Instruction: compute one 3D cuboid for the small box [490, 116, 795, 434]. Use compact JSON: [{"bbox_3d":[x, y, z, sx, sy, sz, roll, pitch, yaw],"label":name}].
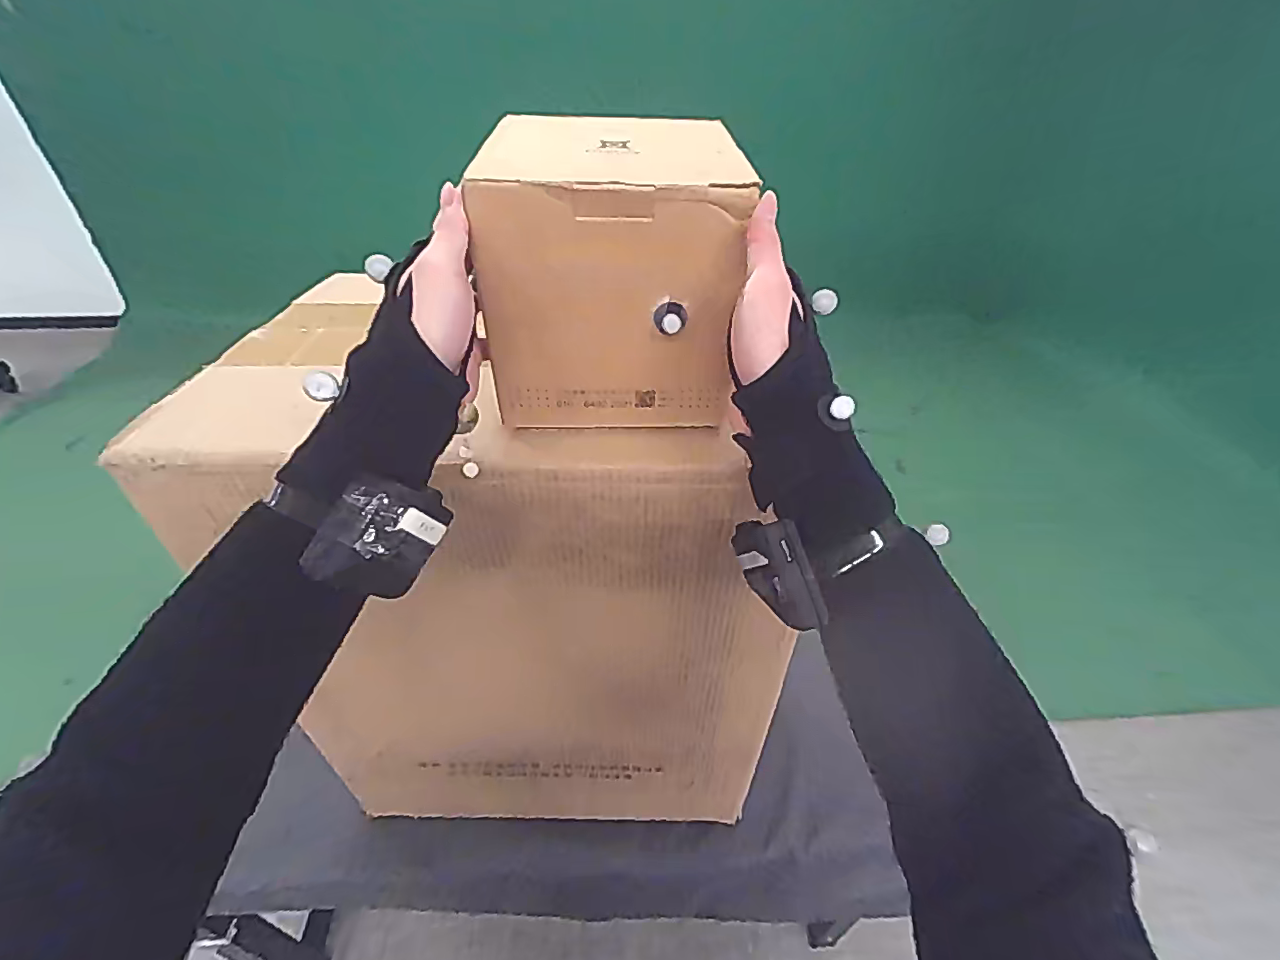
[{"bbox_3d":[-0.003,-0.148,0.397,0.168,0.176,0.179,1,43,-4],"label":"small box"}]
